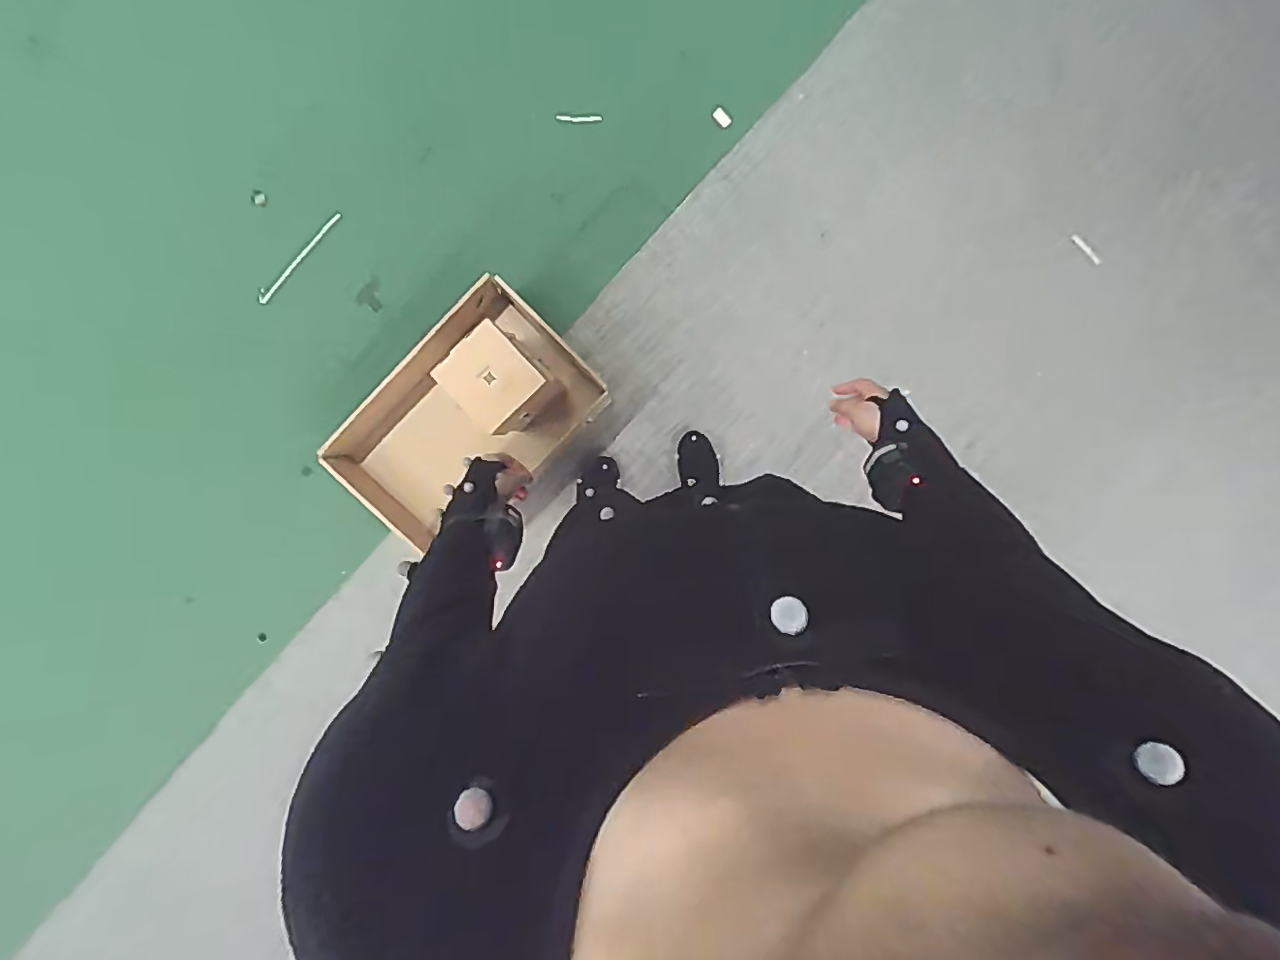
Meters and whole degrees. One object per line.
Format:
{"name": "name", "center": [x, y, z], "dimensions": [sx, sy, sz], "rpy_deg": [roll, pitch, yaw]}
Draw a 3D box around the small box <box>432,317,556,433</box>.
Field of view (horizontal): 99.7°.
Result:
{"name": "small box", "center": [-0.303, -0.215, 1.159], "dimensions": [0.168, 0.176, 0.179], "rpy_deg": [-44, 95, 3]}
